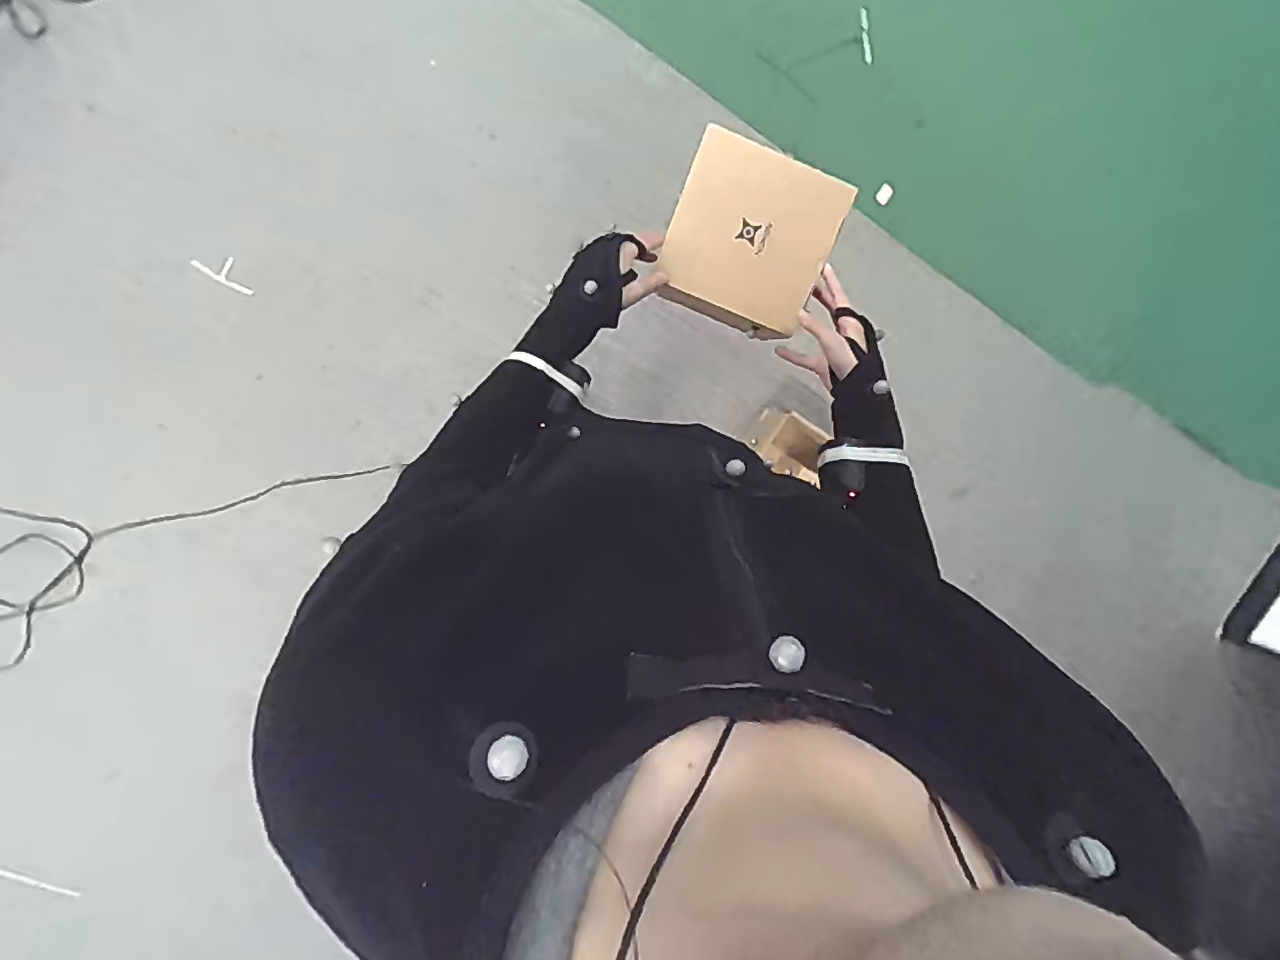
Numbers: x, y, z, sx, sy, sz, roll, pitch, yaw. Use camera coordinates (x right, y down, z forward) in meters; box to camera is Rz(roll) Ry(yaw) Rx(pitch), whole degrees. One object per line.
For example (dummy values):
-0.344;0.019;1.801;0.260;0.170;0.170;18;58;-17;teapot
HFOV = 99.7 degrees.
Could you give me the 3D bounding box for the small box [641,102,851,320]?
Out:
0.112;-0.301;0.650;0.179;0.176;0.168;21;104;-4;small box
